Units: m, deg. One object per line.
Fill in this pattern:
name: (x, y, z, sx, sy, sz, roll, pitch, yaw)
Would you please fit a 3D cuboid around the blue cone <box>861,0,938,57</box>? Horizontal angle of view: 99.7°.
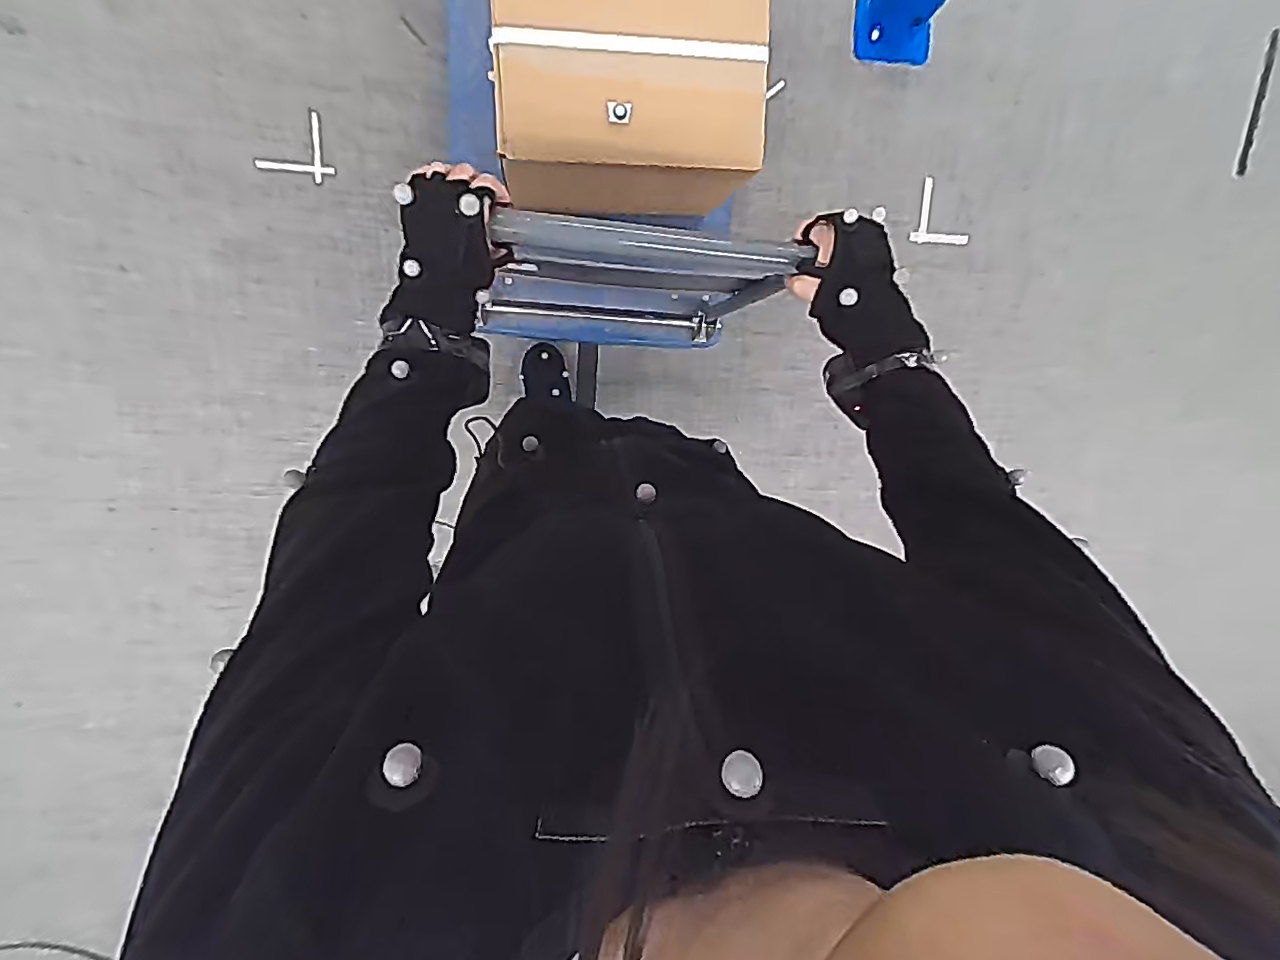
blue cone: (0.643, -1.084, 1.128, 0.193, 0.380, 0.192, -2, 102, -10)
